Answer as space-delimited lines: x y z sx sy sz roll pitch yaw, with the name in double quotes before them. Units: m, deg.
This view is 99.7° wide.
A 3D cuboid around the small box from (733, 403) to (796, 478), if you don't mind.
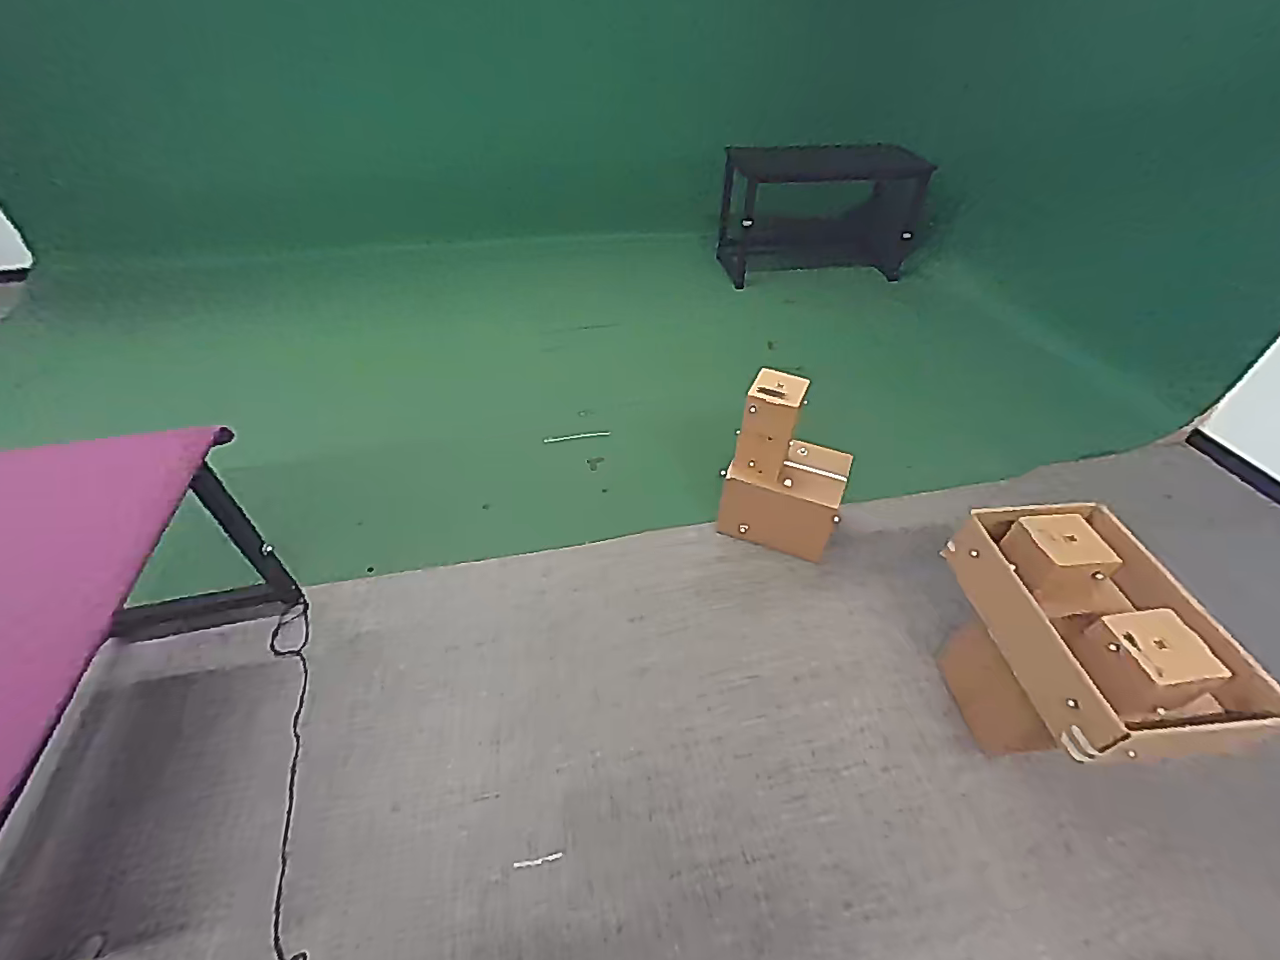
"small box" 0.441 -0.140 1.932 0.168 0.176 0.179 20 49 16
